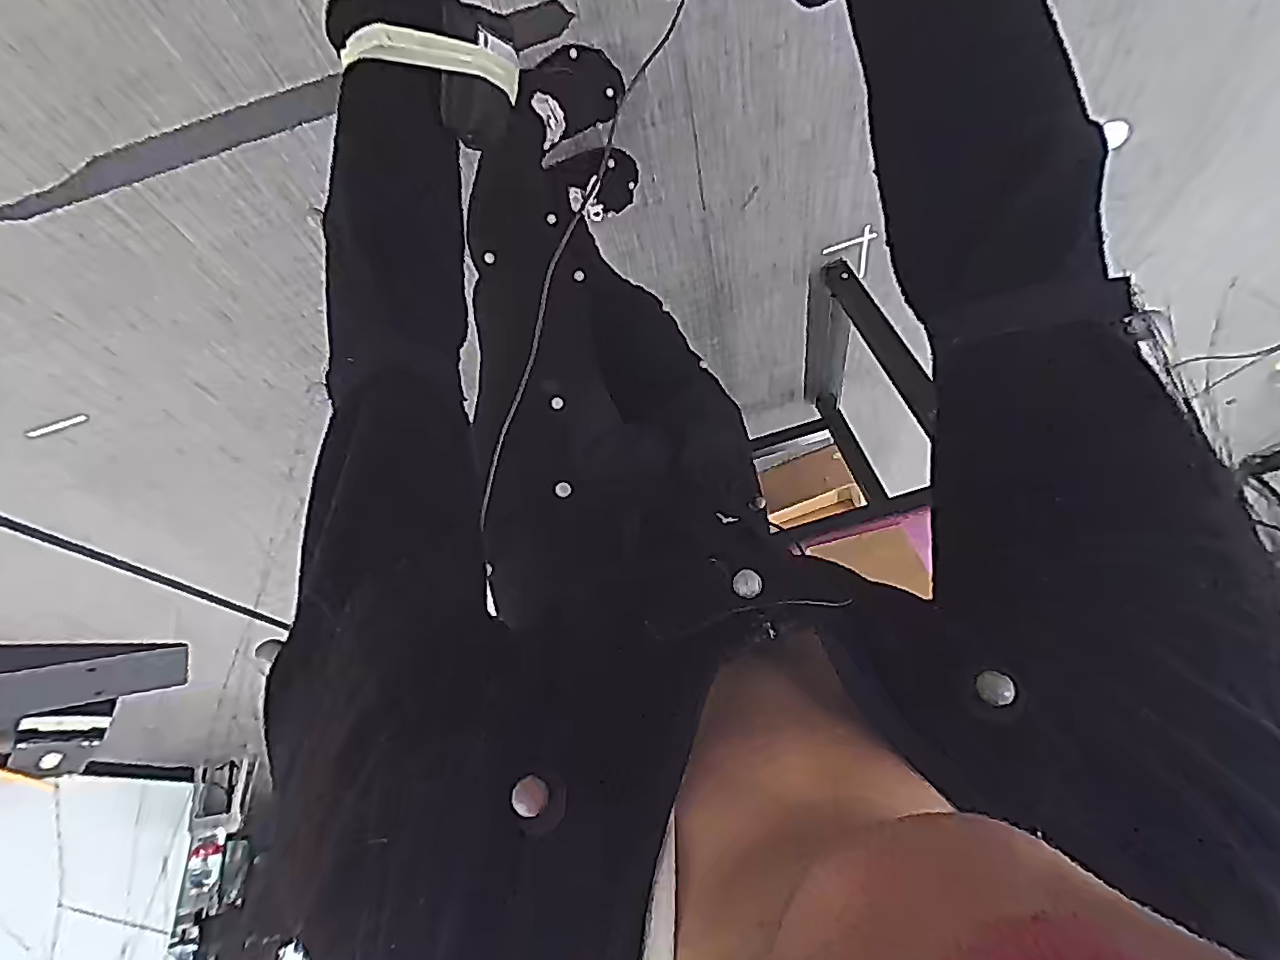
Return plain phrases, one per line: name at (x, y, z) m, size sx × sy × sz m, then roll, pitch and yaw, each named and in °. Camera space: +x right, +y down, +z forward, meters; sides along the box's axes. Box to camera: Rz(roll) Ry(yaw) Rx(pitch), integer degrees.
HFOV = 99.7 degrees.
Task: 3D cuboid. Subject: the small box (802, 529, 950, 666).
small box at (0.408, 0.211, 0.974) m, size 0.179 × 0.176 × 0.168 m, roll -15°, pitch 146°, yaw 0°
